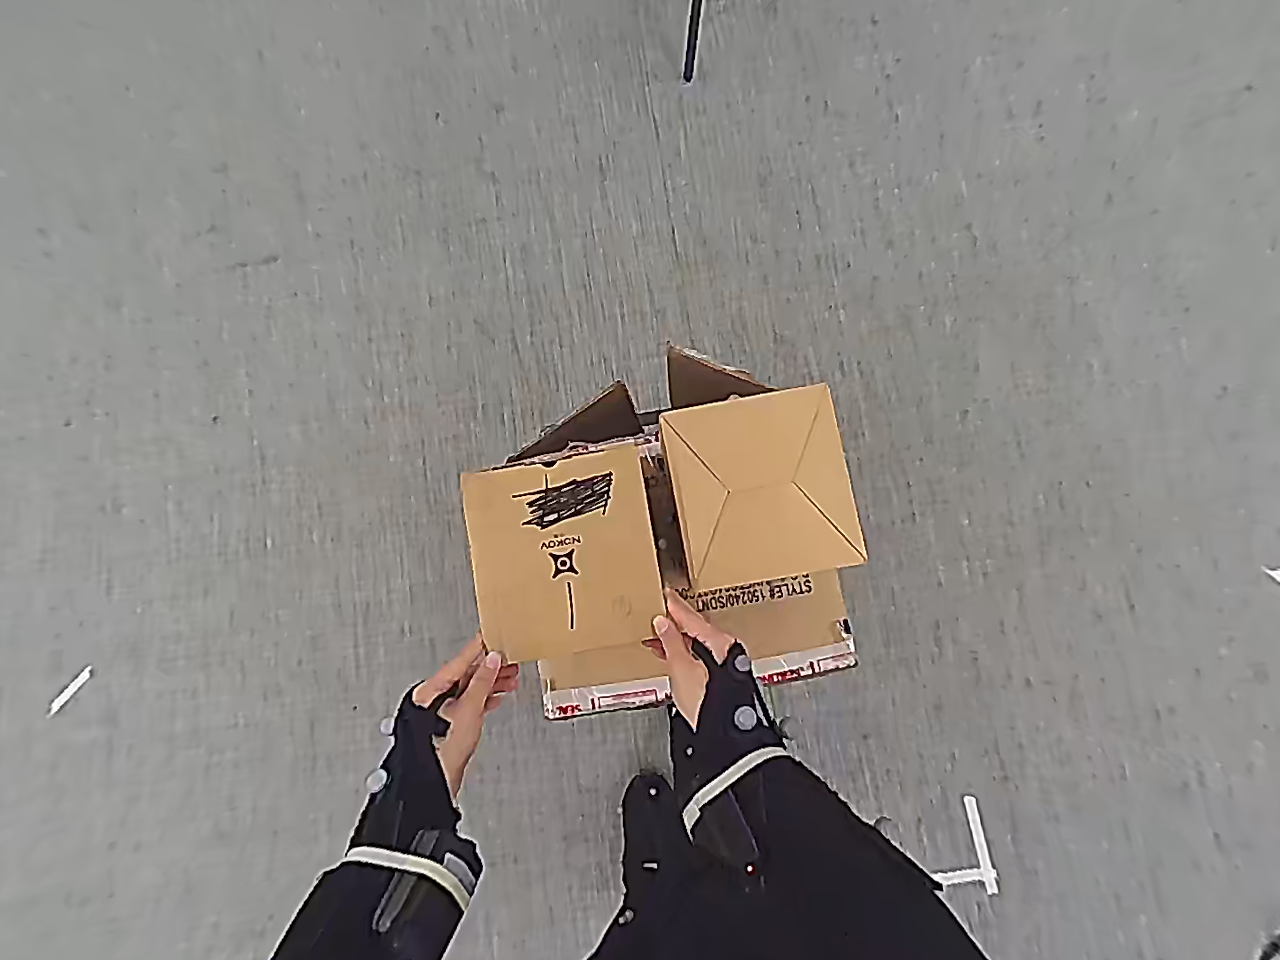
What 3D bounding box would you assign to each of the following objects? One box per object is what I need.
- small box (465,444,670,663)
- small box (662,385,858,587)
[{"bbox_3d":[-0.067,0.073,0.563,0.168,0.176,0.179,-10,85,-1],"label":"small box"},{"bbox_3d":[0.117,0.014,0.589,0.168,0.176,0.179,-11,84,1],"label":"small box"}]
